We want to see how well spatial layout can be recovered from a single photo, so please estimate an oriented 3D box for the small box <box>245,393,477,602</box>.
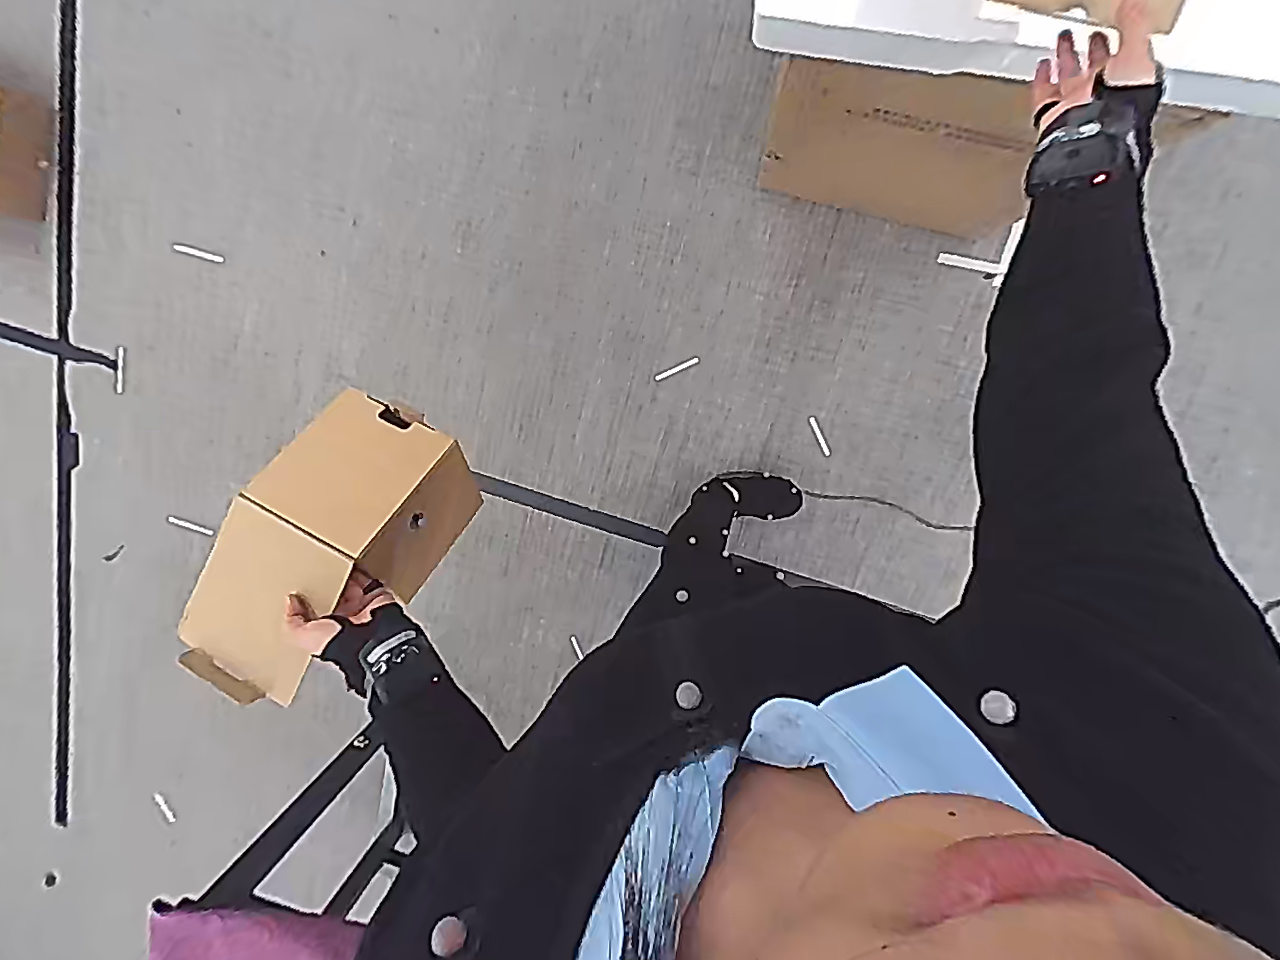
[{"bbox_3d":[-0.332,0.029,0.689,0.168,0.176,0.179,25,61,11],"label":"small box"}]
